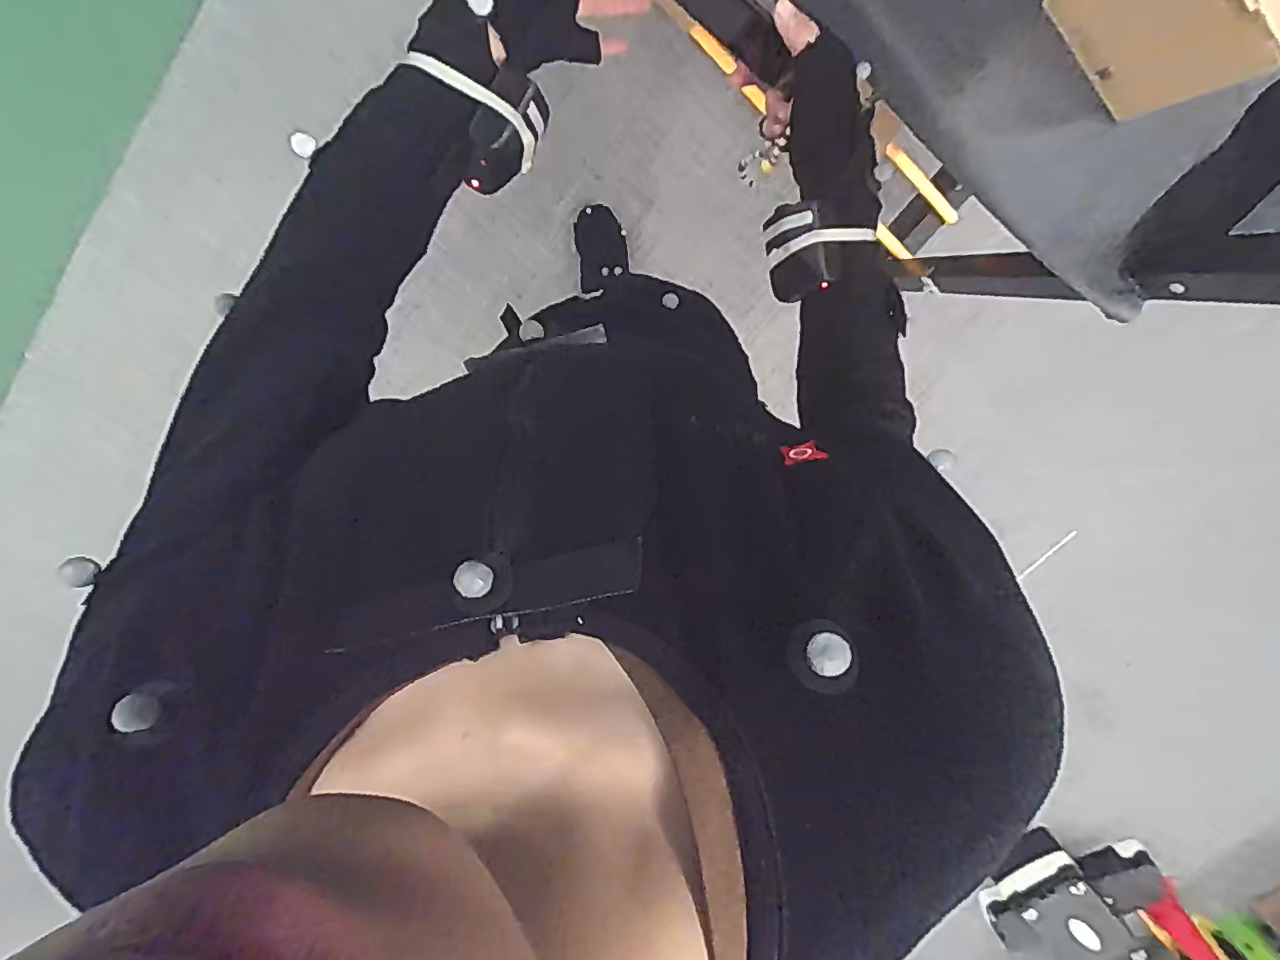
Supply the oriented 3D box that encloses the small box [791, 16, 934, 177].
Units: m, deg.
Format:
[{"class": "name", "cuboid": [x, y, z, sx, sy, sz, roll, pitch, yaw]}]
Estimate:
[{"class": "small box", "cuboid": [0.419, -0.731, 1.058, 0.168, 0.176, 0.179, 41, 104, -17]}]
